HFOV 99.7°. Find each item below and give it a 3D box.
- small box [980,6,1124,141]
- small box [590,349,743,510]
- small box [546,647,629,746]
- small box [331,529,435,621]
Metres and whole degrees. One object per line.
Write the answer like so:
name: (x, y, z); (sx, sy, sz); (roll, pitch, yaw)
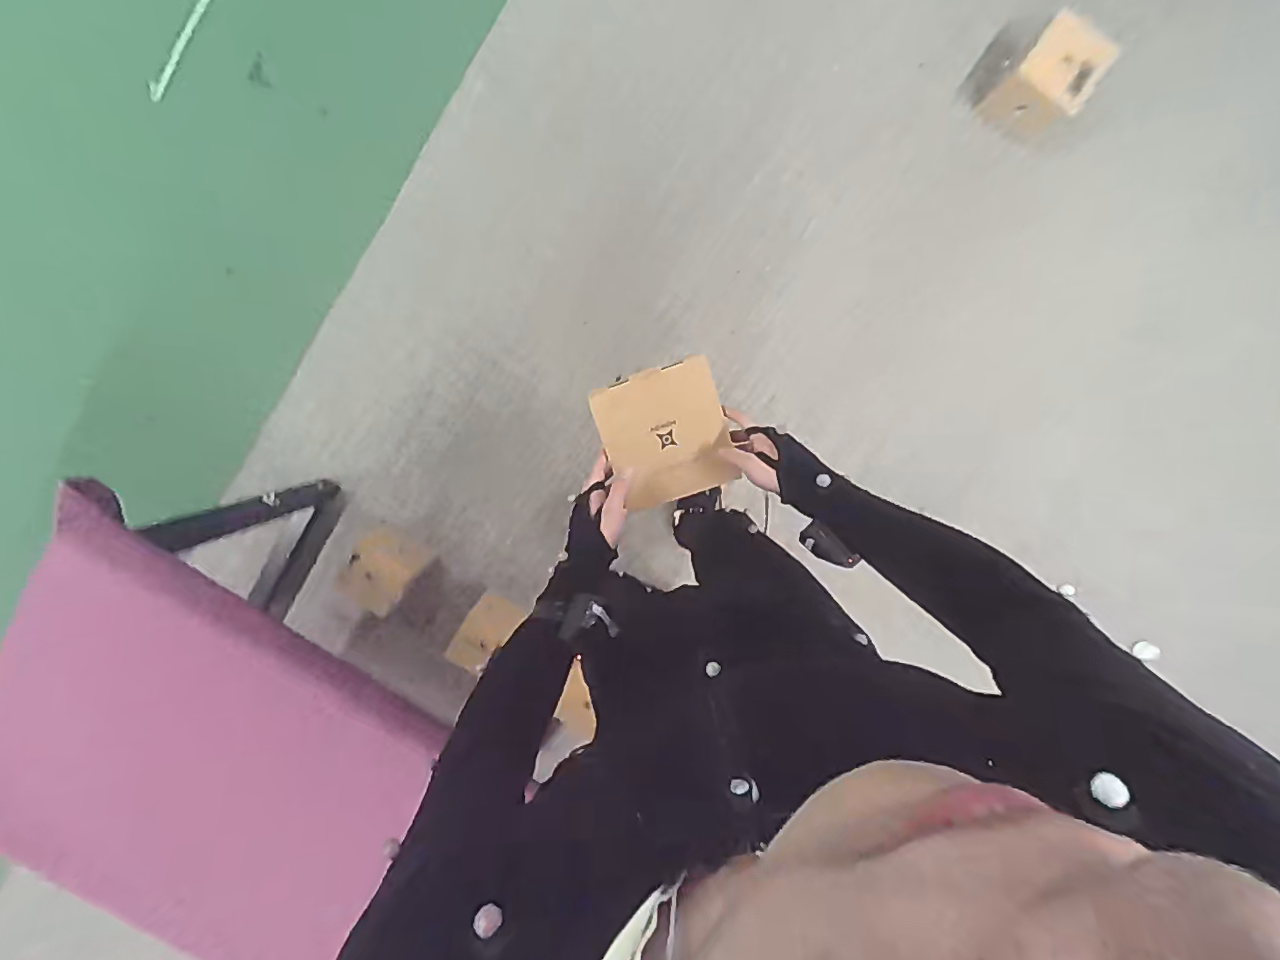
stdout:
small box: (0.981, -0.961, 1.304); (0.179, 0.176, 0.168); (34, 98, -3)
small box: (0.034, -0.076, 0.777); (0.168, 0.176, 0.179); (-17, 101, 3)
small box: (-0.144, 0.620, 1.572); (0.179, 0.176, 0.168); (33, 98, -3)
small box: (-0.716, 0.260, 1.529); (0.179, 0.176, 0.168); (36, 98, -4)
